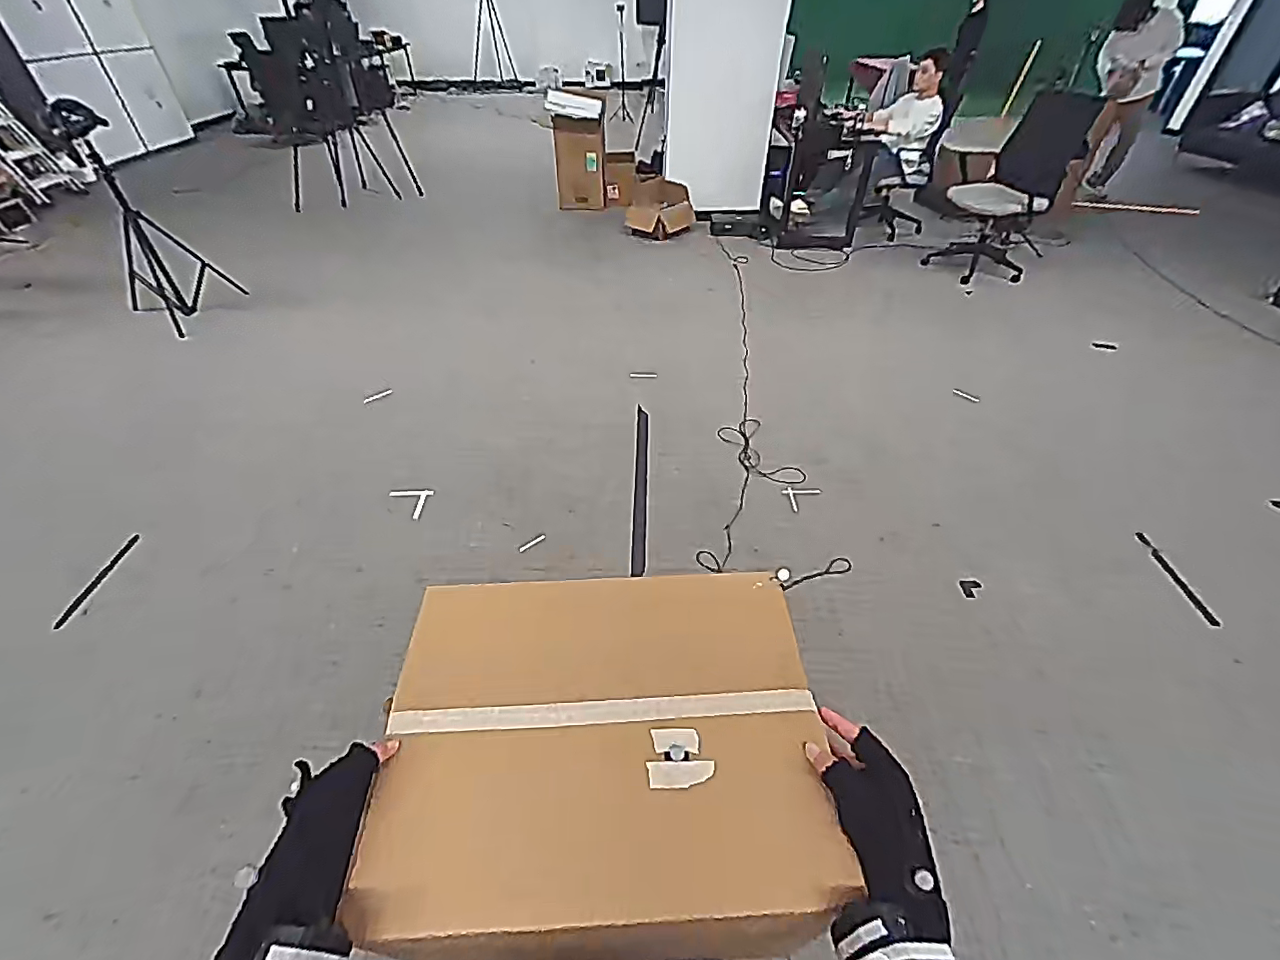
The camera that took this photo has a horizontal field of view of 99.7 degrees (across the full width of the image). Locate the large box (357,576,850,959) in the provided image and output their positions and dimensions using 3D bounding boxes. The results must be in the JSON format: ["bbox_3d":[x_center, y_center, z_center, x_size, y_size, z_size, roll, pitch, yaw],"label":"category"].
[{"bbox_3d":[-0.035,0.337,0.637,0.408,0.320,0.320,-2,44,-2],"label":"large box"}]
